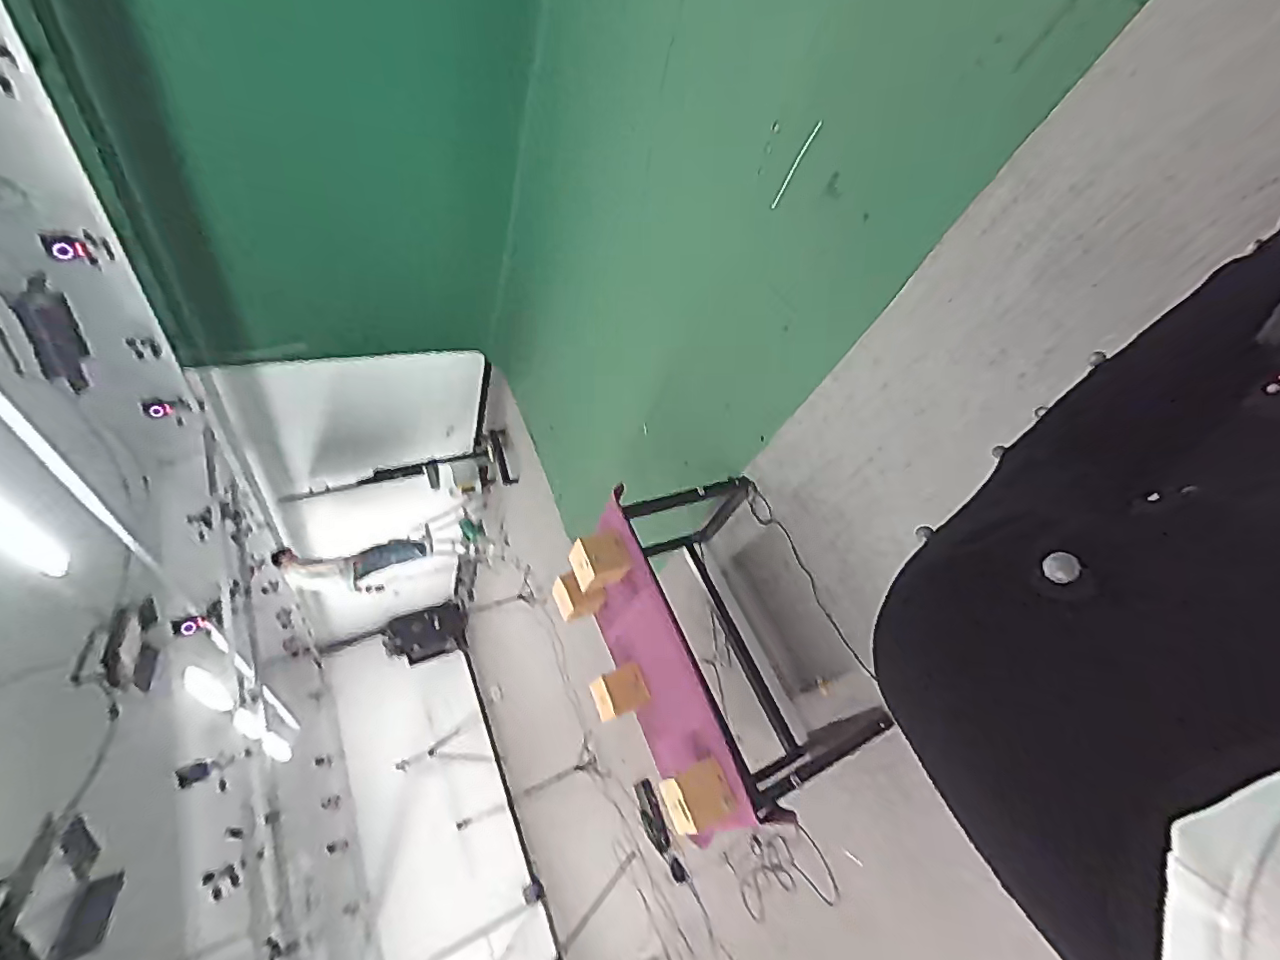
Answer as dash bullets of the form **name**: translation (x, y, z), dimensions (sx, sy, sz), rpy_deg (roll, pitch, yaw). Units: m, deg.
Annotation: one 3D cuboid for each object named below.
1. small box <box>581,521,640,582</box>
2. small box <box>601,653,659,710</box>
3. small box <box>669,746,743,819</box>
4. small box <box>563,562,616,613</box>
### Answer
- **small box**: translation (-0.118, 0.288, 2.183), dimensions (0.168, 0.176, 0.179), rpy_deg (63, 149, 22)
- **small box**: translation (-0.040, 0.849, 2.278), dimensions (0.168, 0.176, 0.179), rpy_deg (65, 148, 23)
- **small box**: translation (0.228, 1.032, 1.850), dimensions (0.168, 0.176, 0.179), rpy_deg (64, 151, 24)
- **small box**: translation (-0.229, 0.477, 2.463), dimensions (0.168, 0.176, 0.179), rpy_deg (61, 147, 23)
